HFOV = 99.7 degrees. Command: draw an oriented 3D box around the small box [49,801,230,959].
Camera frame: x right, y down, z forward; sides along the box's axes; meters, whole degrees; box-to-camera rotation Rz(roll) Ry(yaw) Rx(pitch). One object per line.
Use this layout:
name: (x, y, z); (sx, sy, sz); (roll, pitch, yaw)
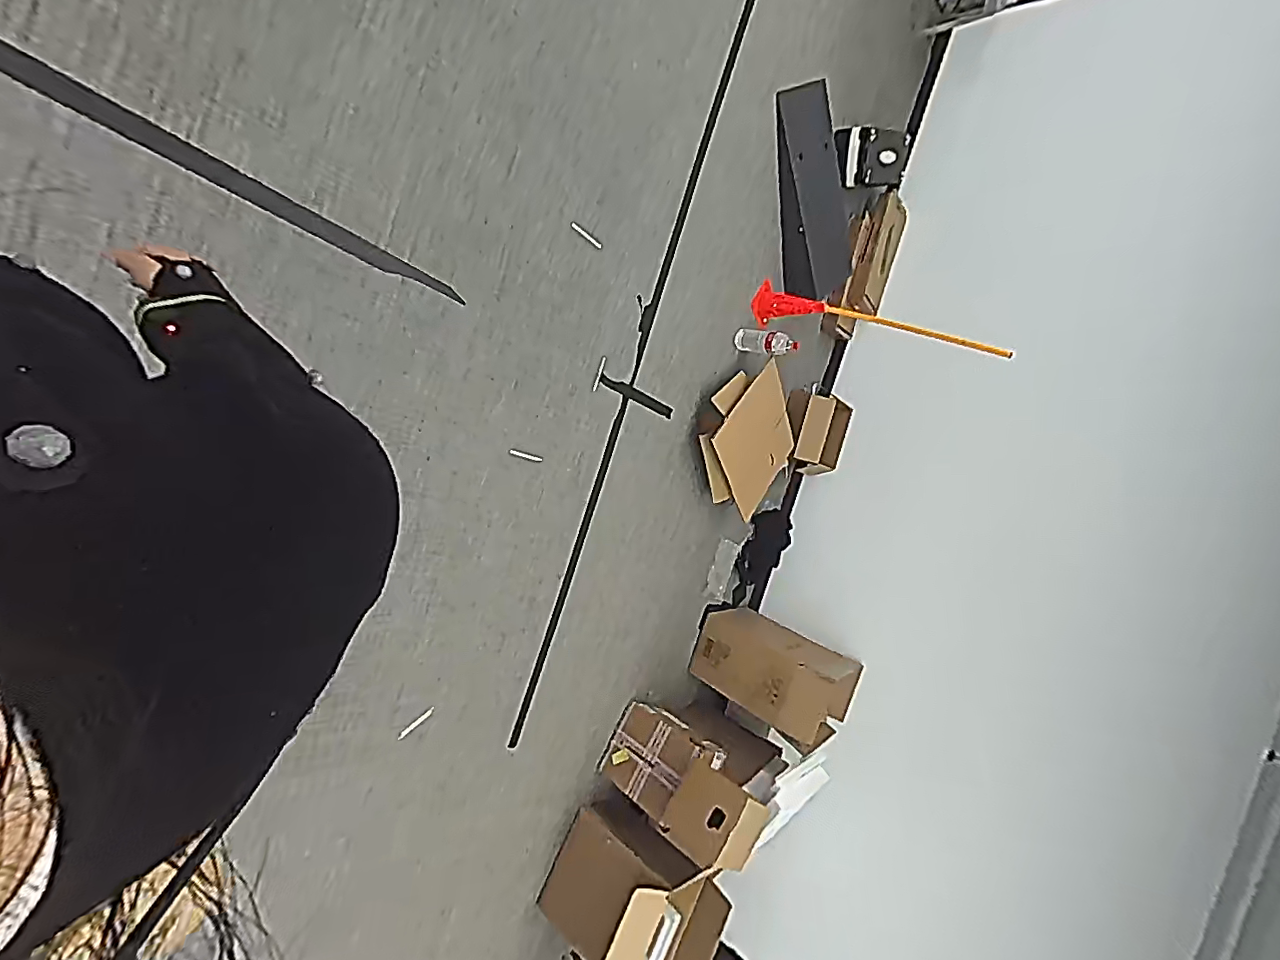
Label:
small box: (-0.894, 0.719, 0.968); (0.168, 0.176, 0.179); (-42, 134, -29)

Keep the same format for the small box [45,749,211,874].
small box: (-1.014, 0.672, 1.073); (0.168, 0.176, 0.179); (-42, 136, -30)
